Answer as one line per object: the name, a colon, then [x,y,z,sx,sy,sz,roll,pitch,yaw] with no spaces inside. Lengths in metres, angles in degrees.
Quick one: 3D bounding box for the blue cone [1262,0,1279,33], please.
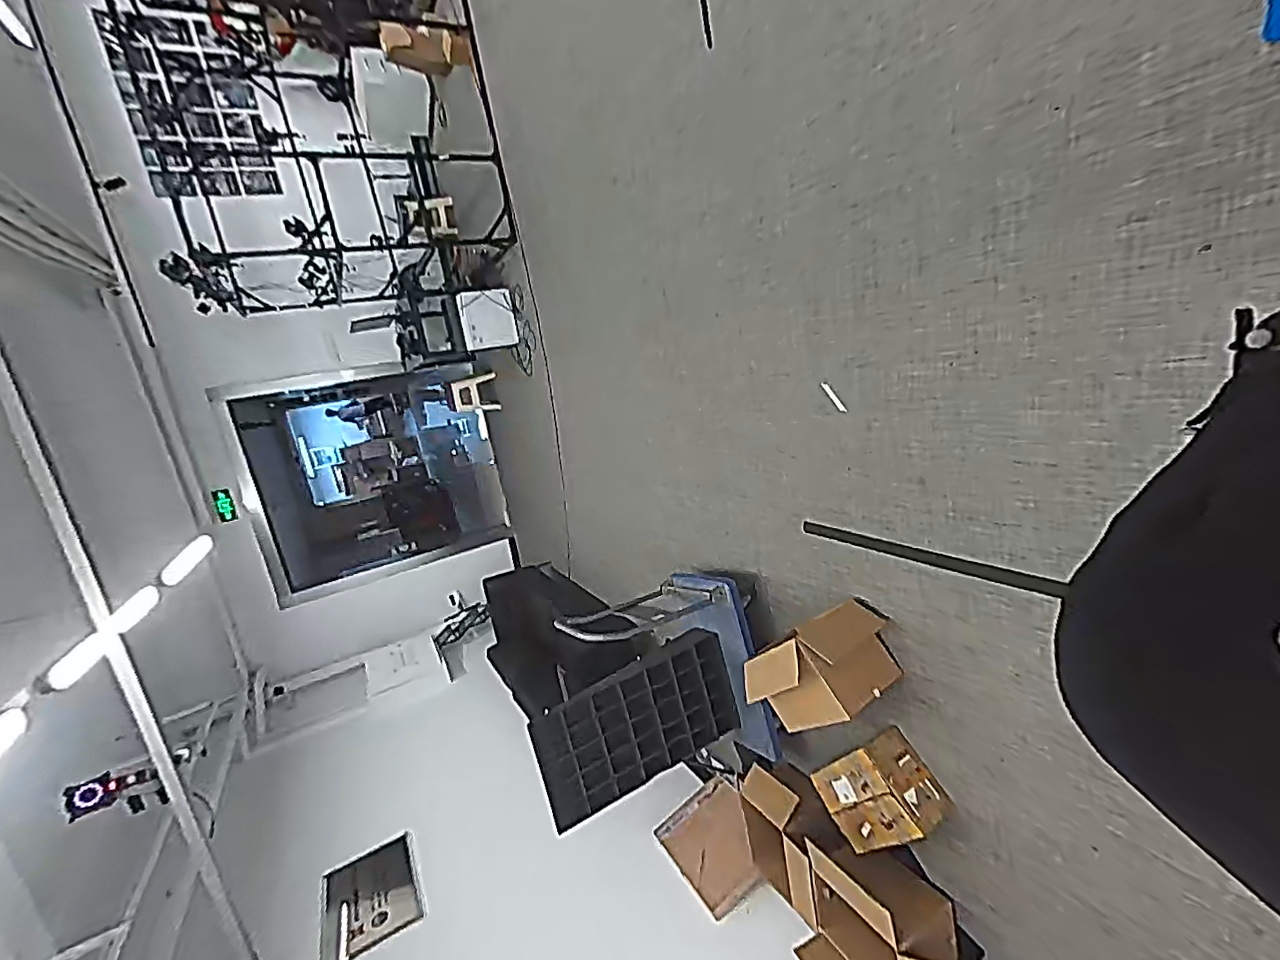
blue cone: [0.927,-0.769,0.730,0.192,0.380,0.193,22,123,59]
